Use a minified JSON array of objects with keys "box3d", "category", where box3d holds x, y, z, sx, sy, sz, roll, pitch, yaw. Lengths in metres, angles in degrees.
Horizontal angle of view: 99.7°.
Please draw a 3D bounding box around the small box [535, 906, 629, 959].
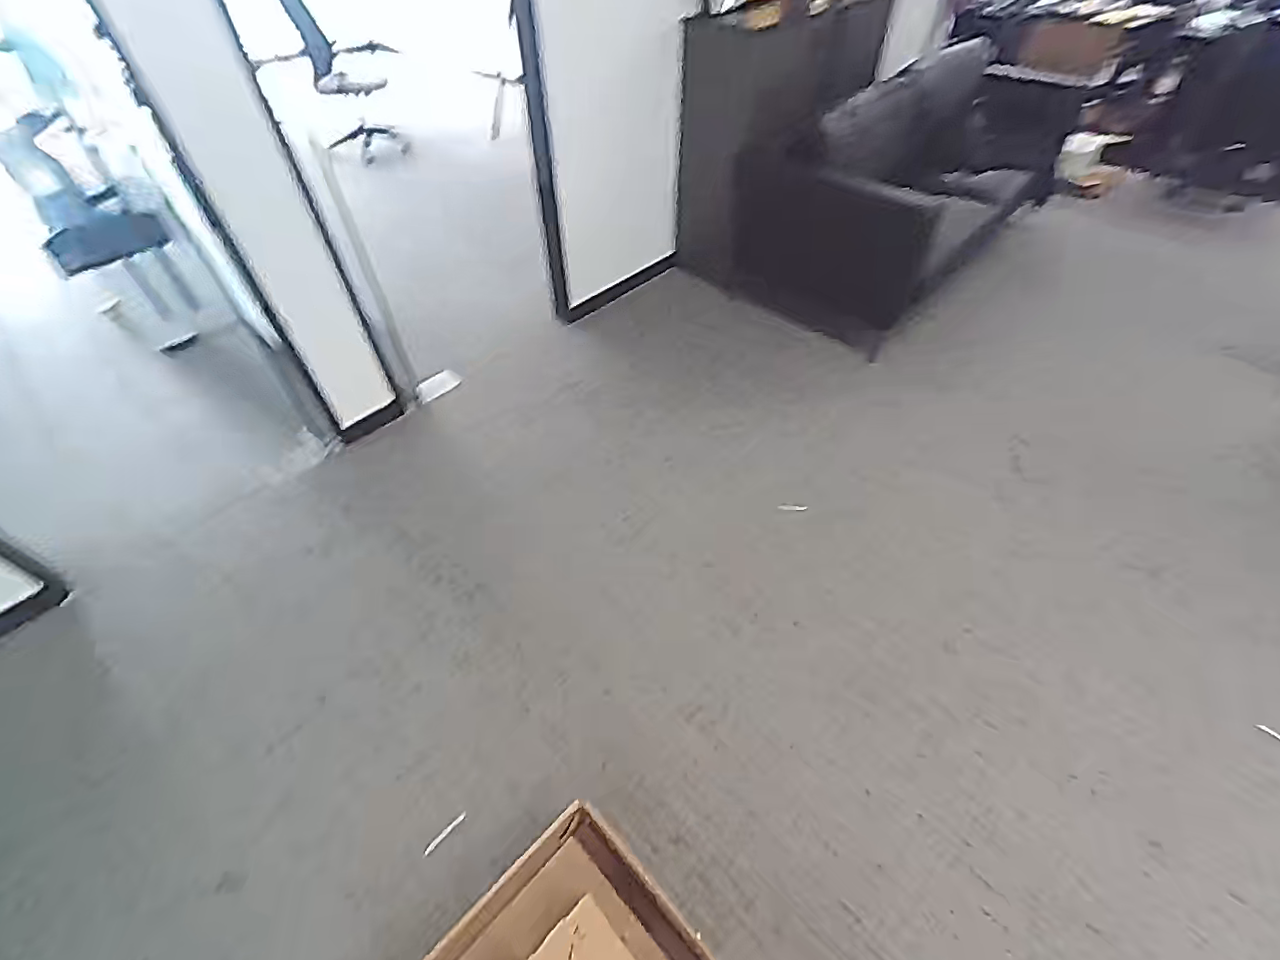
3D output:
[{"box3d":[-0.102,0.949,1.014,0.168,0.176,0.179,-35,56,-27],"category":"small box"}]
